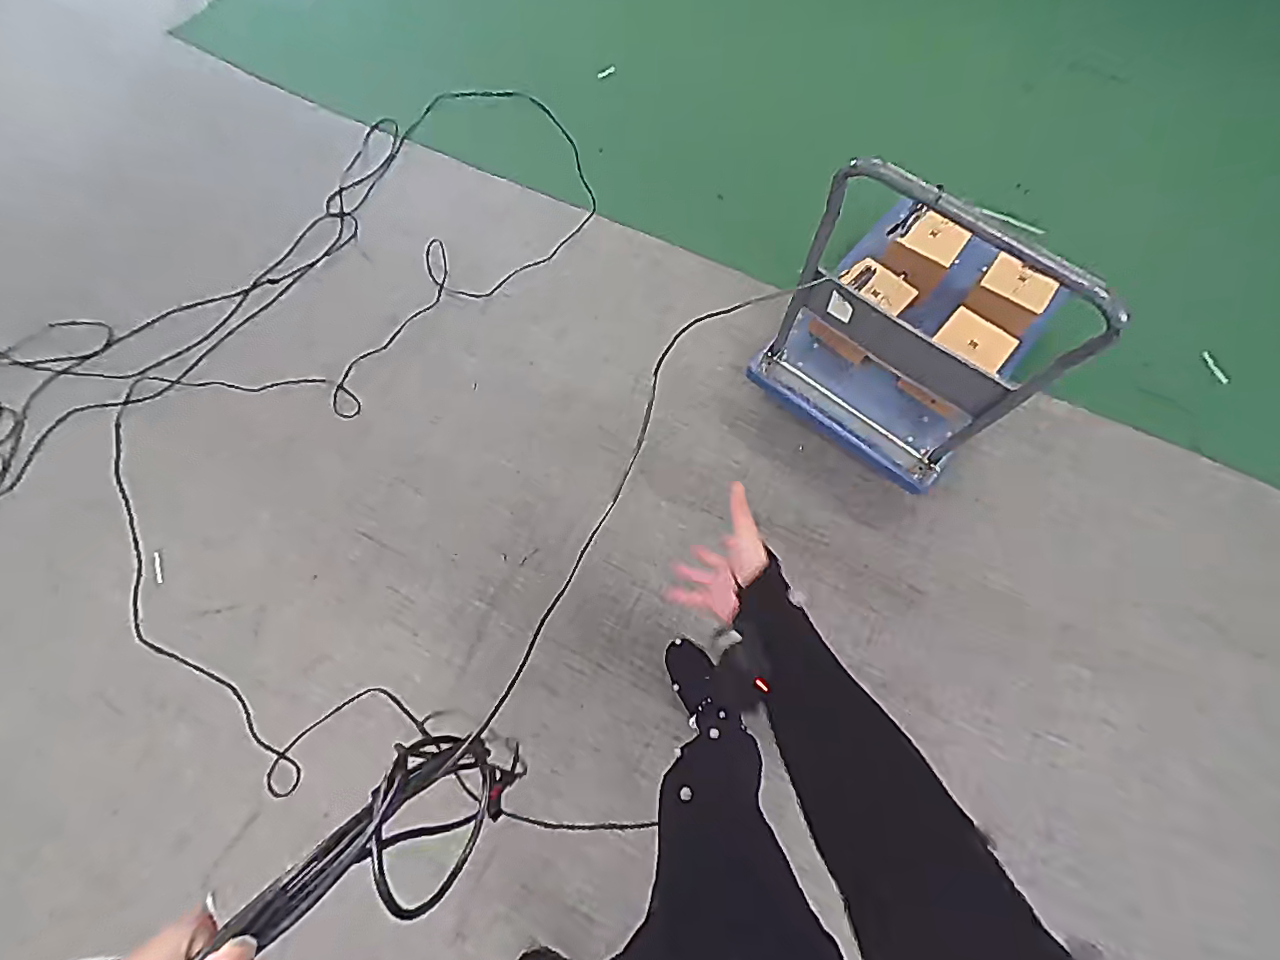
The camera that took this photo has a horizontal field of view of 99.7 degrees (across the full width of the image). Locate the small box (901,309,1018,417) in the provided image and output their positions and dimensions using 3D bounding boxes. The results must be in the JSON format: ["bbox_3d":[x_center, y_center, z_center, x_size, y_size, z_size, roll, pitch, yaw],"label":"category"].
[{"bbox_3d":[0.815,-0.298,1.400,0.168,0.176,0.179,40,75,14],"label":"small box"}]

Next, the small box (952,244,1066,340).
[{"bbox_3d":[0.991,-0.491,1.470,0.168,0.176,0.179,35,74,14],"label":"small box"}]

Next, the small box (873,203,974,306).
[{"bbox_3d":[0.790,-0.630,1.527,0.168,0.176,0.179,35,73,12],"label":"small box"}]
